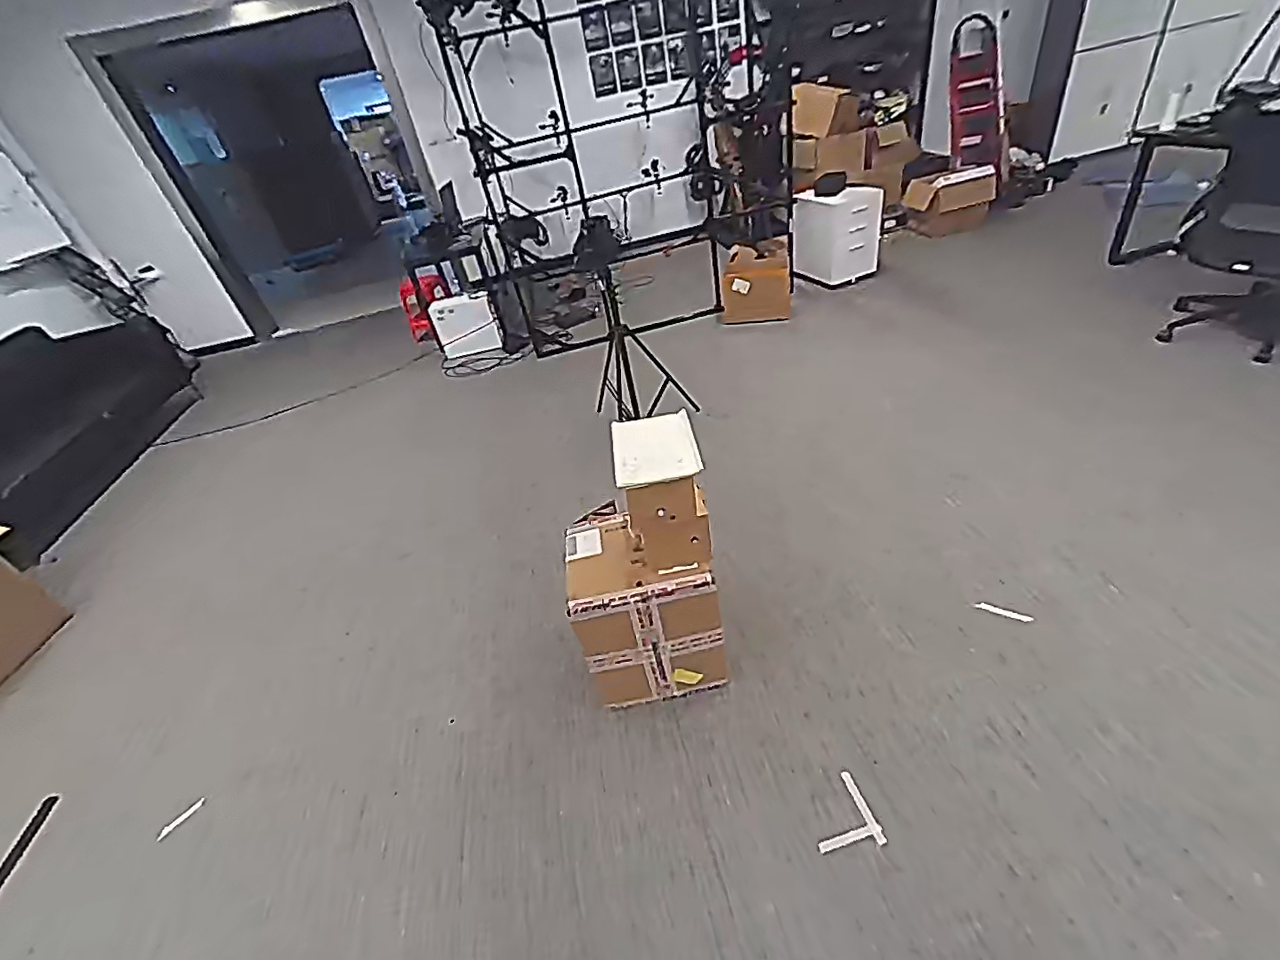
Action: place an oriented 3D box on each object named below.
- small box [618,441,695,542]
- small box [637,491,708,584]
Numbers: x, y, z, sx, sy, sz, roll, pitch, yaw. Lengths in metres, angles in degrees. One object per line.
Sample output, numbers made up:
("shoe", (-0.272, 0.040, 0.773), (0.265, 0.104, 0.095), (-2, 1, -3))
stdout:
("small box", (0.039, 0.028, 1.335), (0.168, 0.176, 0.179), (-9, 38, 1))
("small box", (0.080, 0.151, 1.438), (0.179, 0.176, 0.168), (-12, 37, -2))
